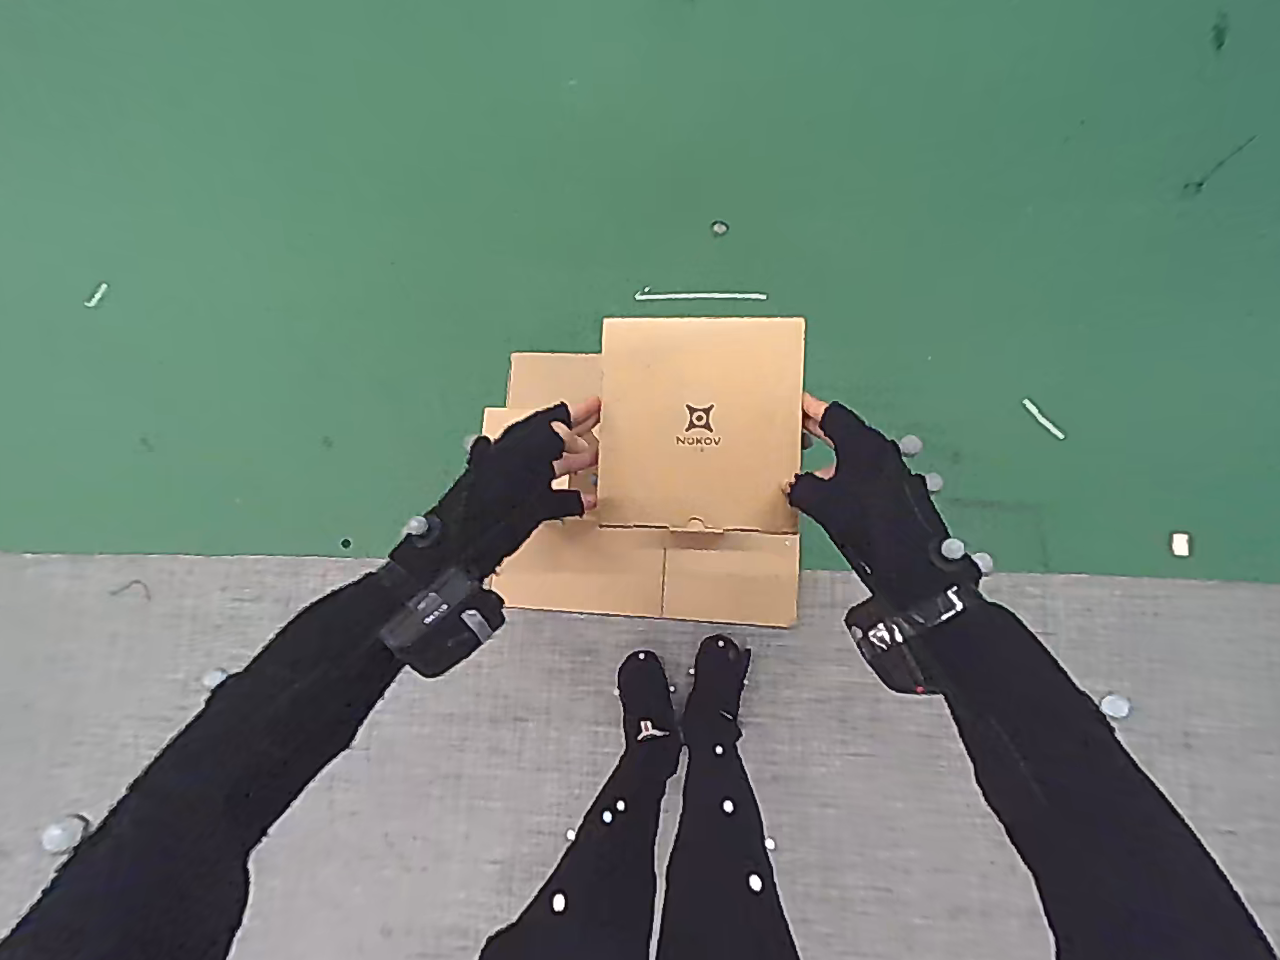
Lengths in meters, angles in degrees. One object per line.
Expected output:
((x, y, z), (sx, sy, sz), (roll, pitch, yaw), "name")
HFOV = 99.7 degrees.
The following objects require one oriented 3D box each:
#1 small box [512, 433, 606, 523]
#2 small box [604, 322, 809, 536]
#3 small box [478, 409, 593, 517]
((-0.170, -0.001, 1.180), (0.168, 0.176, 0.179), (1, 82, 7), "small box")
((0.061, -0.043, 0.528), (0.168, 0.176, 0.179), (2, 90, 5), "small box")
((-0.188, -0.026, 1.019), (0.168, 0.176, 0.179), (3, 82, 7), "small box")
